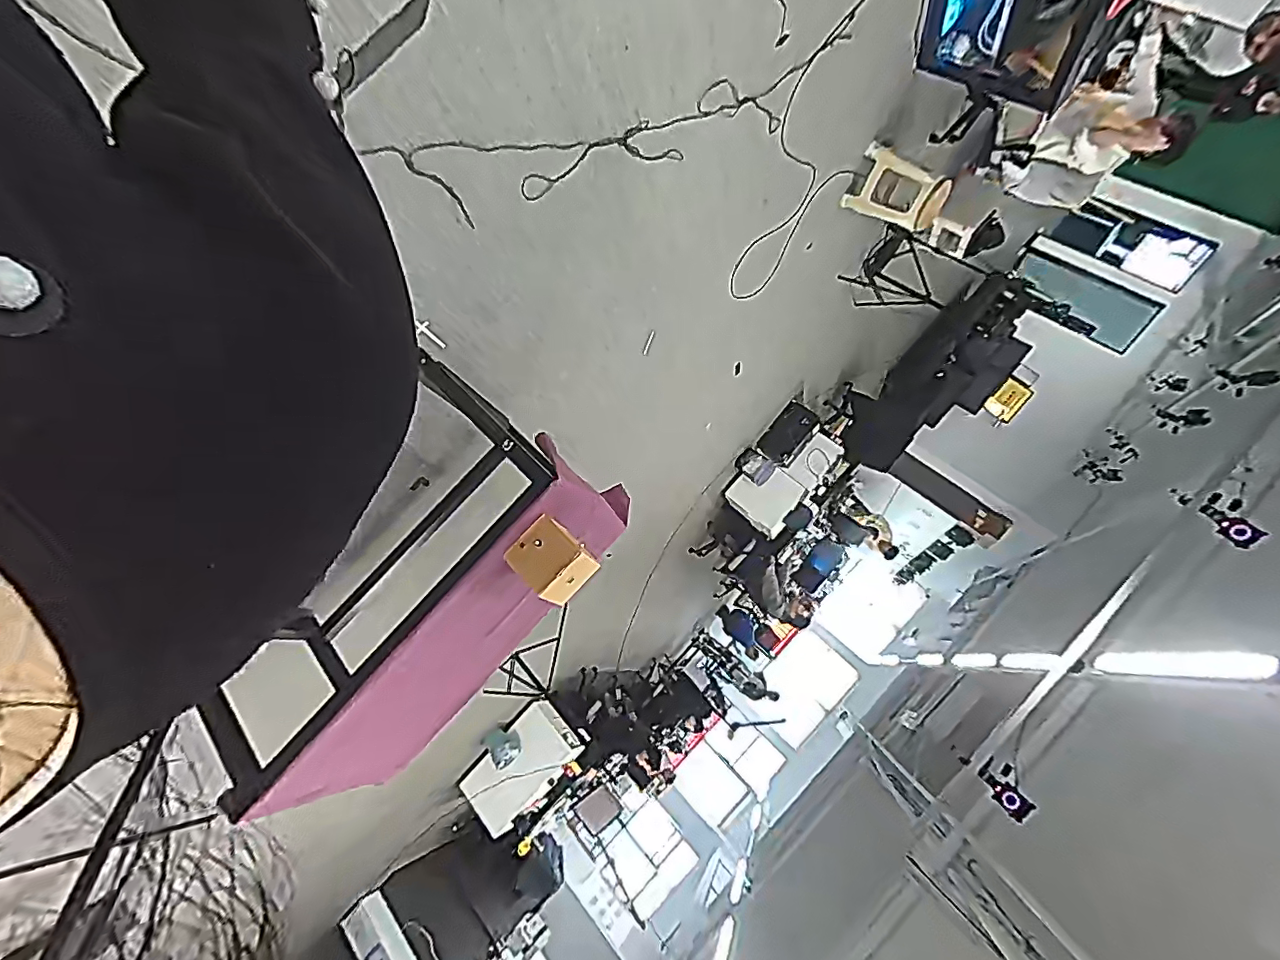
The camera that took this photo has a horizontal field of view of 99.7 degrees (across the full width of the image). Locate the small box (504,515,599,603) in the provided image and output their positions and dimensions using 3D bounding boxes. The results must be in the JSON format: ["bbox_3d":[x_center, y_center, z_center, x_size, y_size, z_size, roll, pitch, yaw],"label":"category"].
[{"bbox_3d":[-0.251,0.223,1.537,0.168,0.176,0.179,-46,156,-5],"label":"small box"}]
